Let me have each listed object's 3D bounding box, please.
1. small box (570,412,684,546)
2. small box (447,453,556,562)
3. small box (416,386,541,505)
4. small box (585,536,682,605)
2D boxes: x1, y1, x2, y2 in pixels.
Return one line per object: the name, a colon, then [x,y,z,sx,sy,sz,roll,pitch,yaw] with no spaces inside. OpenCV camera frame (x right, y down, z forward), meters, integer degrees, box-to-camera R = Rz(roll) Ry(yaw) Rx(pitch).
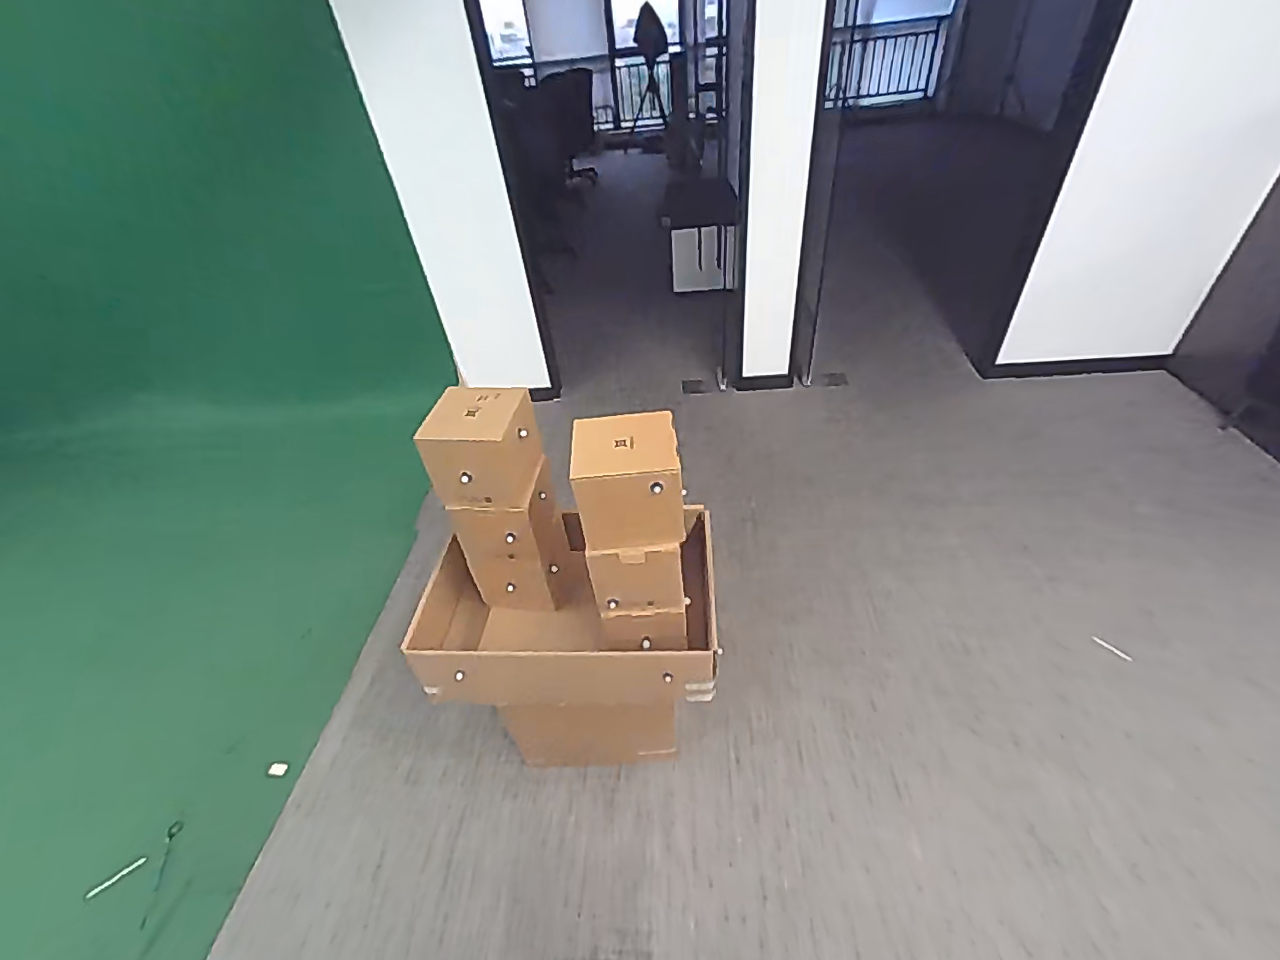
small box: [-0.019,0.001,0.946,0.179,0.176,0.168,-5,41,1]
small box: [-0.286,0.060,1.164,0.168,0.176,0.179,1,41,6]
small box: [-0.303,-0.067,1.059,0.168,0.176,0.179,3,42,7]
small box: [-0.006,0.128,1.045,0.168,0.176,0.179,-3,41,4]
